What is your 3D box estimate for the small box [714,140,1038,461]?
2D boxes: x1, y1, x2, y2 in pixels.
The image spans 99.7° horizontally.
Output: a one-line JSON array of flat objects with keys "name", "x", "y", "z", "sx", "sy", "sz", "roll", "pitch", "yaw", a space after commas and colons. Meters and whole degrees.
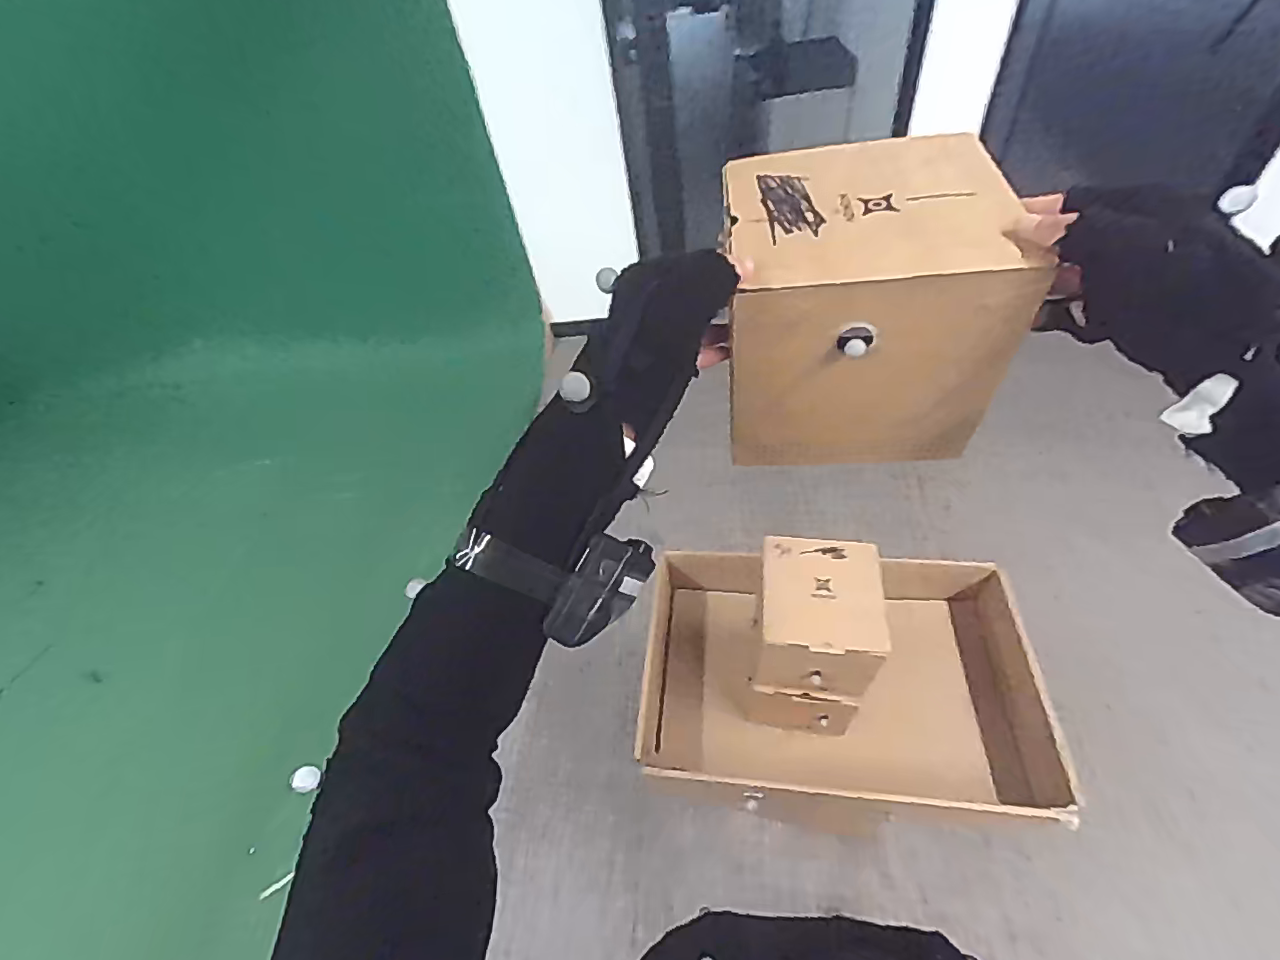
[{"name": "small box", "x": 0.149, "y": -0.127, "z": 0.416, "sx": 0.179, "sy": 0.176, "sz": 0.168, "roll": -2, "pitch": 54, "yaw": 8}]

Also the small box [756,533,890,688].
[{"name": "small box", "x": 0.271, "y": 0.205, "z": 0.834, "sx": 0.168, "sy": 0.176, "sz": 0.179, "roll": 4, "pitch": 52, "yaw": 10}]

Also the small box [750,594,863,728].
[{"name": "small box", "x": 0.285, "y": 0.317, "z": 0.953, "sx": 0.168, "sy": 0.176, "sz": 0.179, "roll": 4, "pitch": 49, "yaw": 10}]
